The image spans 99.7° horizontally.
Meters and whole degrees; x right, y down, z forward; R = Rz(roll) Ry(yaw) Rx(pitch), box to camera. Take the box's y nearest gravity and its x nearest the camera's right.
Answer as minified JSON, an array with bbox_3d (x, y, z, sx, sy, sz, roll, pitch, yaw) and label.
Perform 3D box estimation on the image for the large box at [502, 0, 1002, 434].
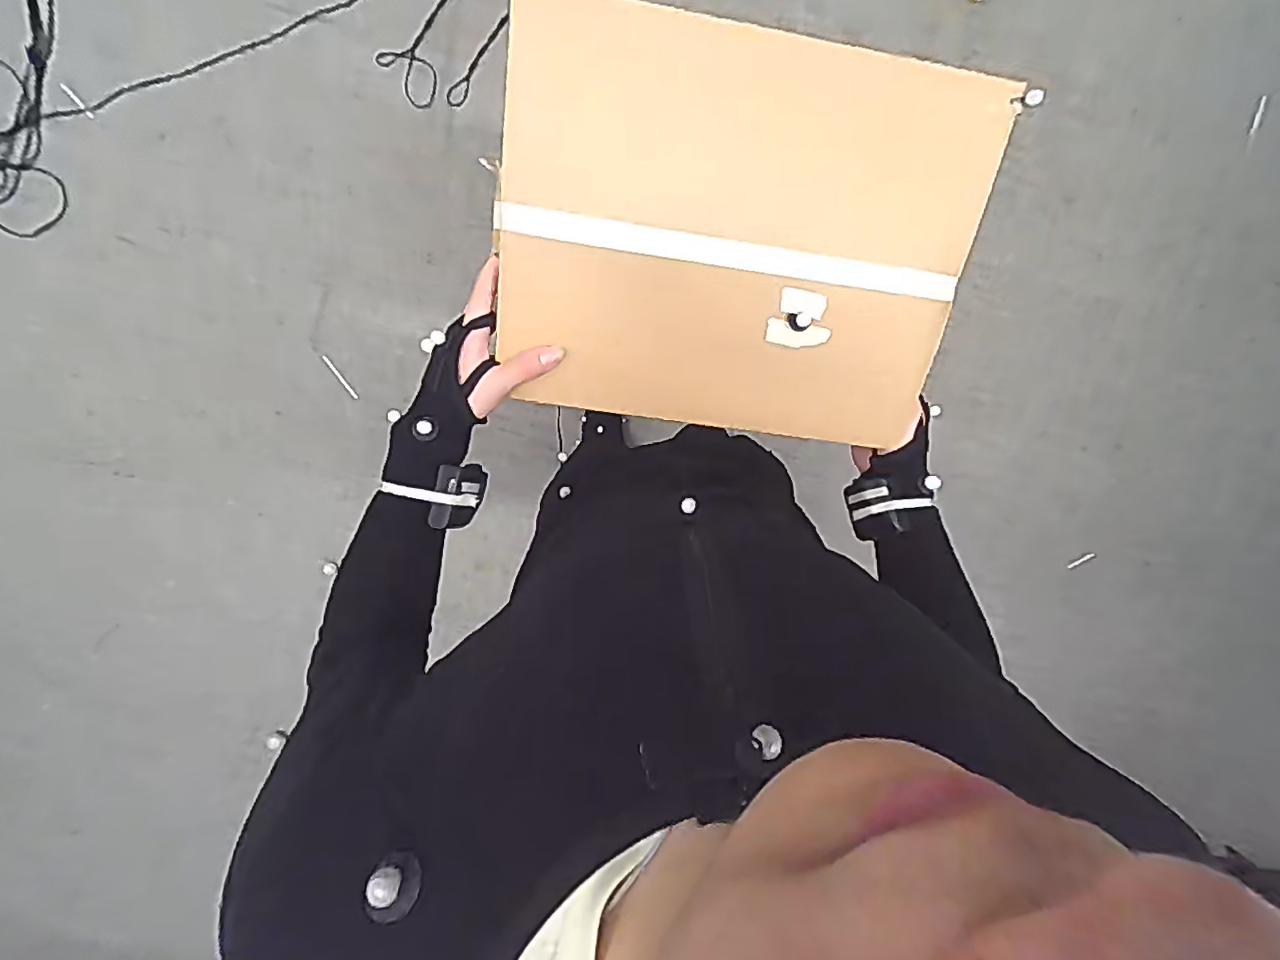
[{"bbox_3d":[0.072,-0.261,0.614,0.408,0.320,0.320,6,113,-6],"label":"large box"}]
